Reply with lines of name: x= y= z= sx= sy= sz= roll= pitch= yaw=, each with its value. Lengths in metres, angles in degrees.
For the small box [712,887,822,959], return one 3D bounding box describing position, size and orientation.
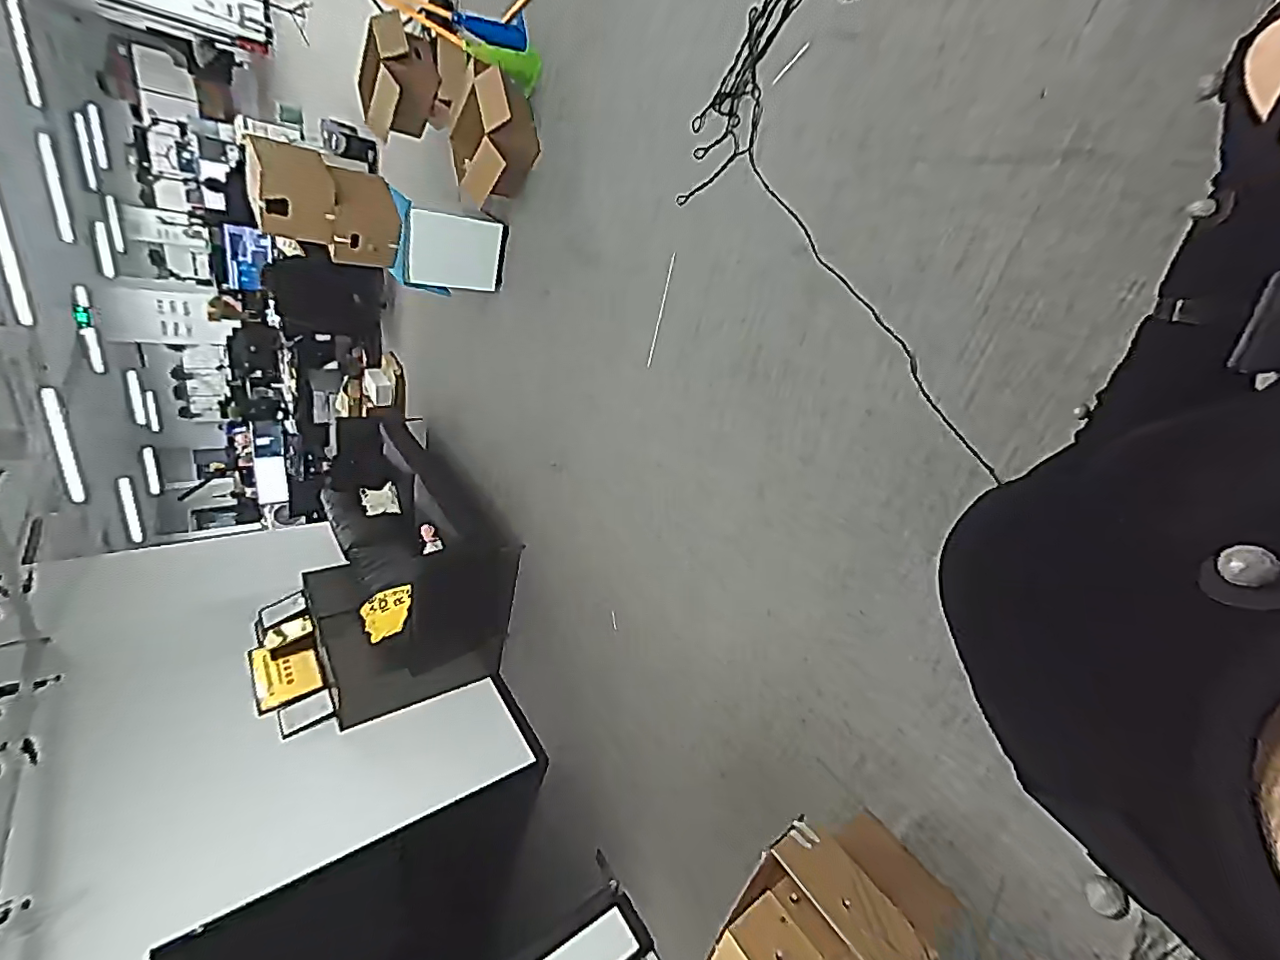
small box: x=0.305 y=1.133 z=1.292 sx=0.168 sy=0.176 sz=0.179 roll=37 pitch=124 yaw=42
